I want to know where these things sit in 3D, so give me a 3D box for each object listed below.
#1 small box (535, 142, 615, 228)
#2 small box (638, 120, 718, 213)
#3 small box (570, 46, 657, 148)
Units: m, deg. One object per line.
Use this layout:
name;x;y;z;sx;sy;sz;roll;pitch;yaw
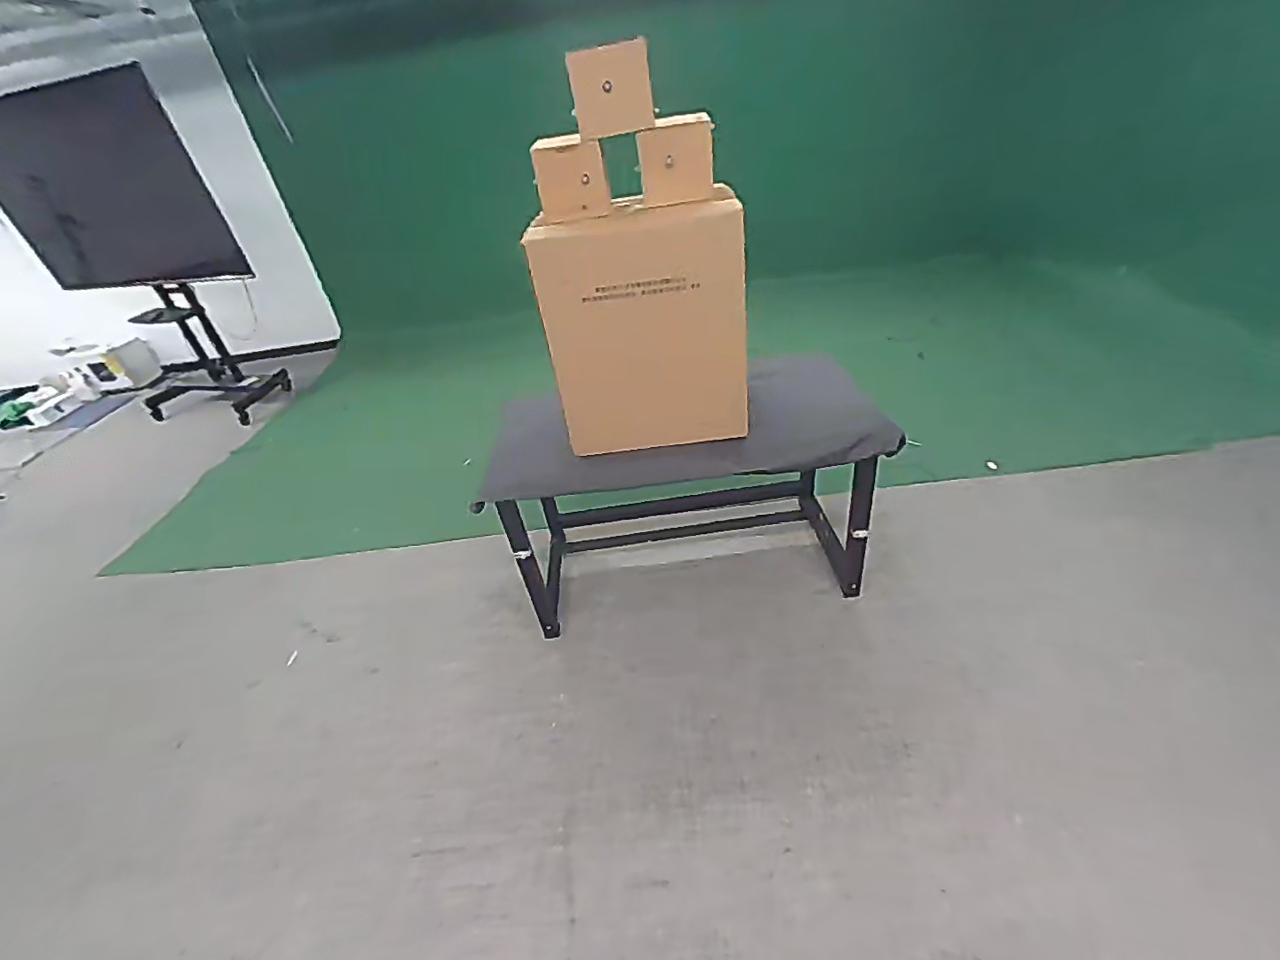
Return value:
small box;-0.158;-0.754;1.381;0.168;0.176;0.179;-6;37;3
small box;0.096;-0.786;1.360;0.179;0.176;0.168;-6;38;6
small box;-0.056;-0.898;1.270;0.179;0.176;0.168;-8;38;5
